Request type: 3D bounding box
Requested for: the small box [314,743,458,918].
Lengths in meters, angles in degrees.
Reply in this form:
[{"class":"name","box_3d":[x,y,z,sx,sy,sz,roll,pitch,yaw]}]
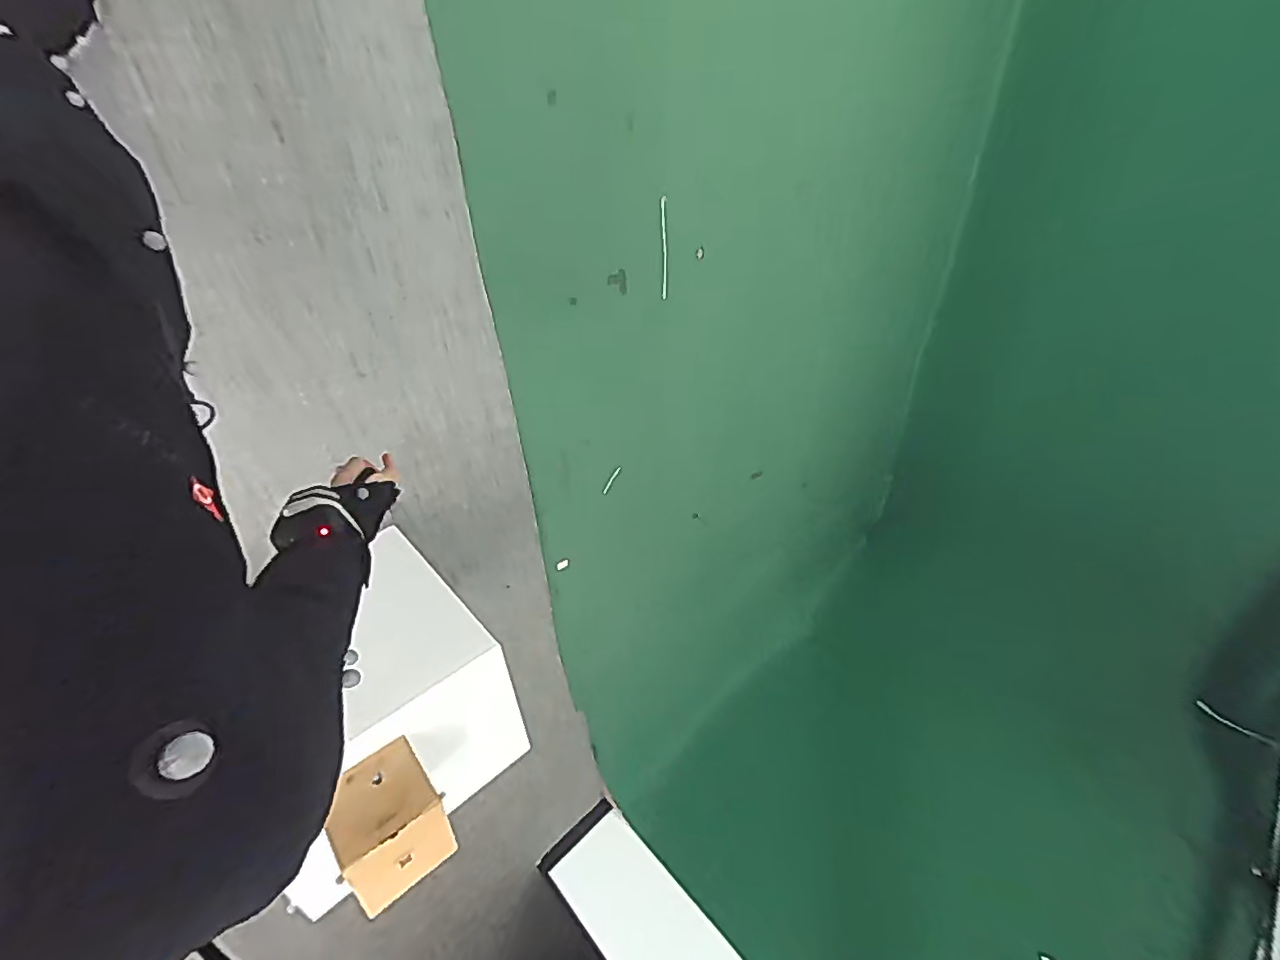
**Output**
[{"class":"small box","box_3d":[-0.456,0.622,0.979,0.168,0.176,0.179,-27,130,-35]}]
